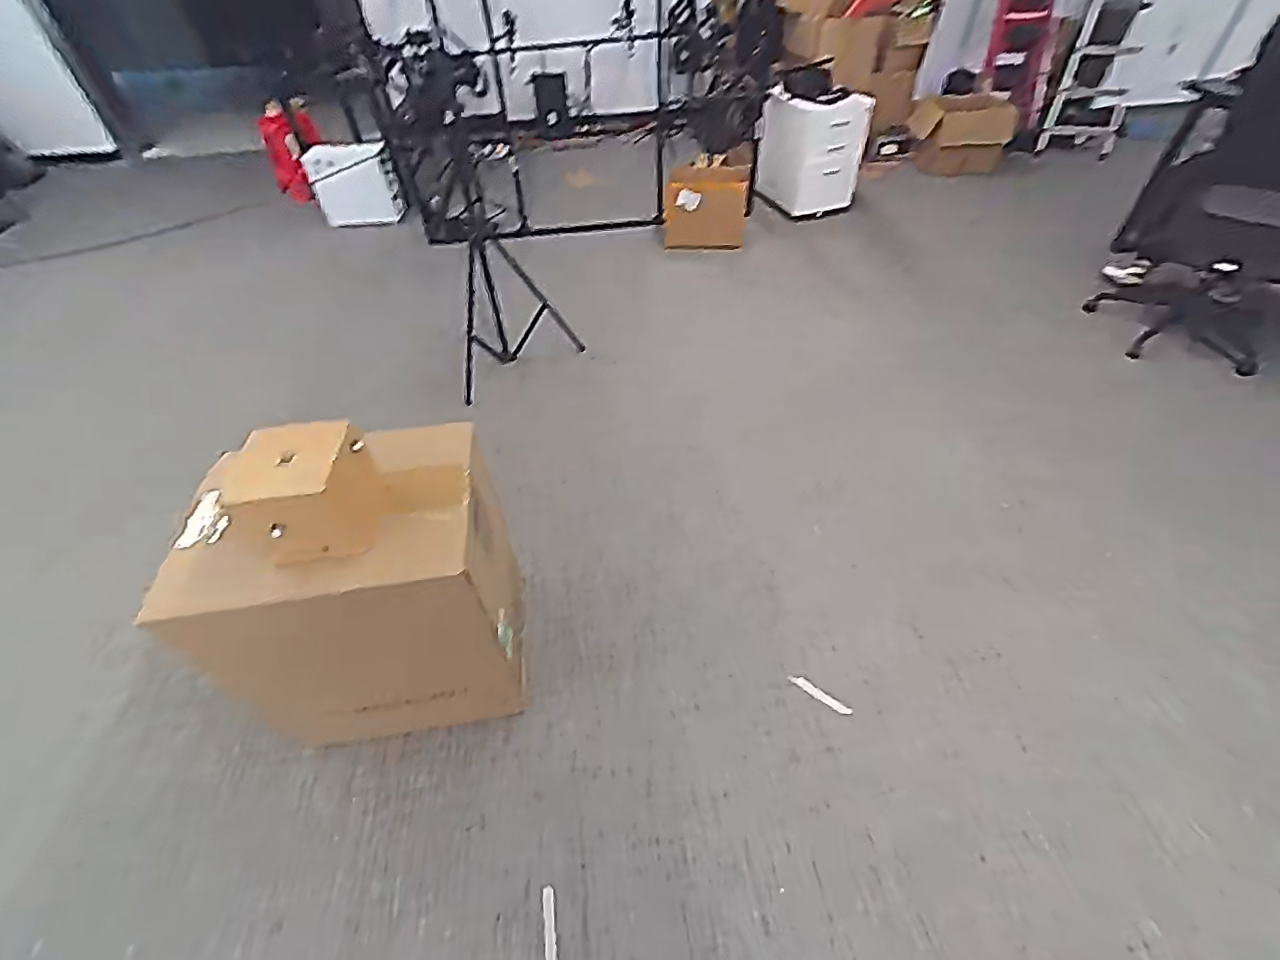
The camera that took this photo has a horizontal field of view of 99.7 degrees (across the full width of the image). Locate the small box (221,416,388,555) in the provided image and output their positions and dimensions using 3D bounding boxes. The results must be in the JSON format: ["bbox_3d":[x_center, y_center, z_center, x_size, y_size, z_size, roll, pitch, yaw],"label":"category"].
[{"bbox_3d":[-0.558,0.015,0.931,0.168,0.176,0.179,-6,46,-3],"label":"small box"}]
